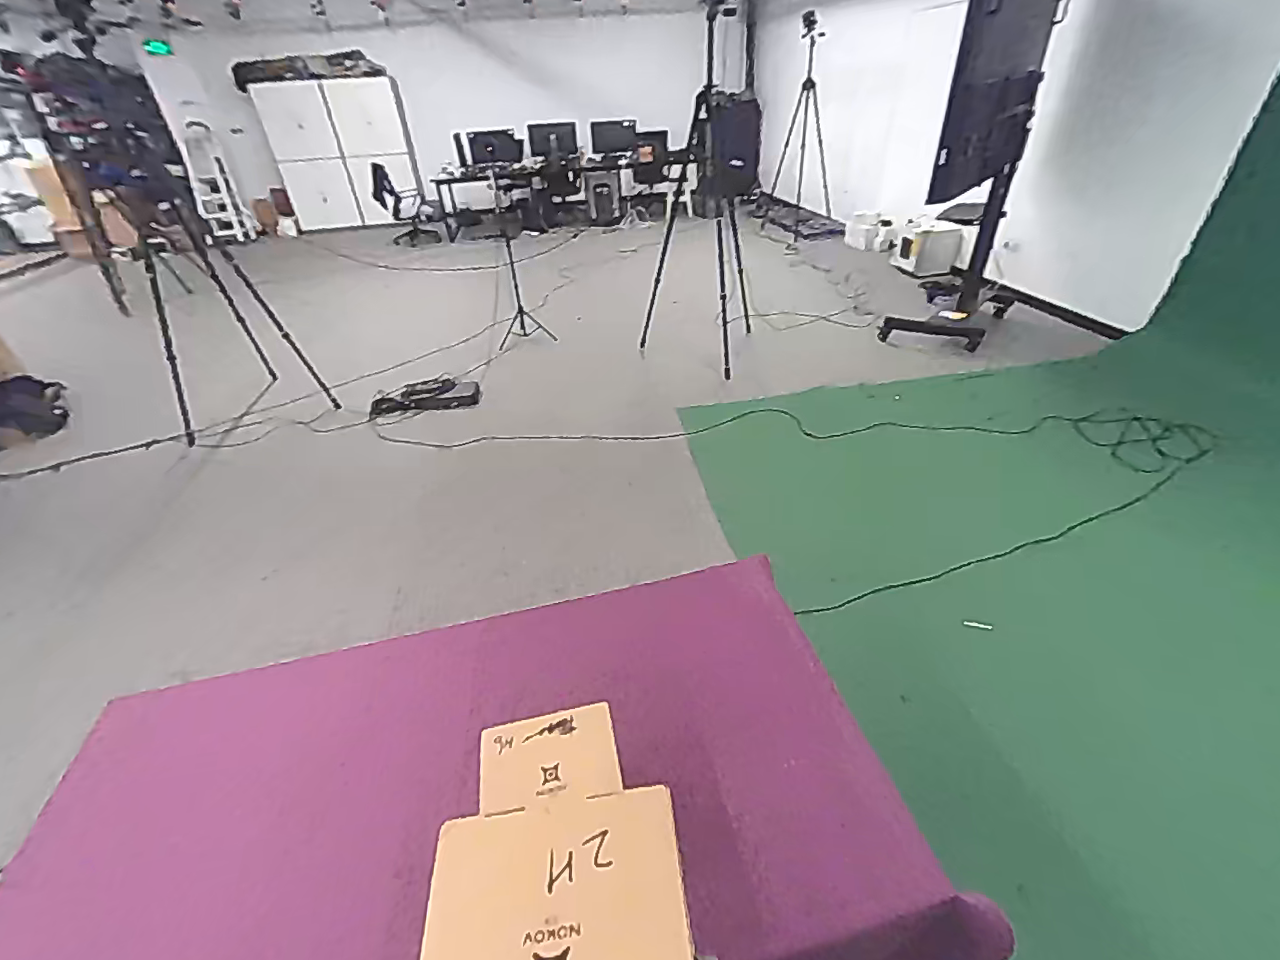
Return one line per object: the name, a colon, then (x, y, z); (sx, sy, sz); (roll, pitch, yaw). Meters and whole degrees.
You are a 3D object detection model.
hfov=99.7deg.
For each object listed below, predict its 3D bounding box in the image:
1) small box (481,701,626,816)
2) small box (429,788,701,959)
small box: (-0.098, 0.418, 0.682); (0.168, 0.176, 0.179); (-9, 37, -8)
small box: (-0.039, 0.350, 0.376); (0.168, 0.176, 0.179); (-8, 38, -2)
